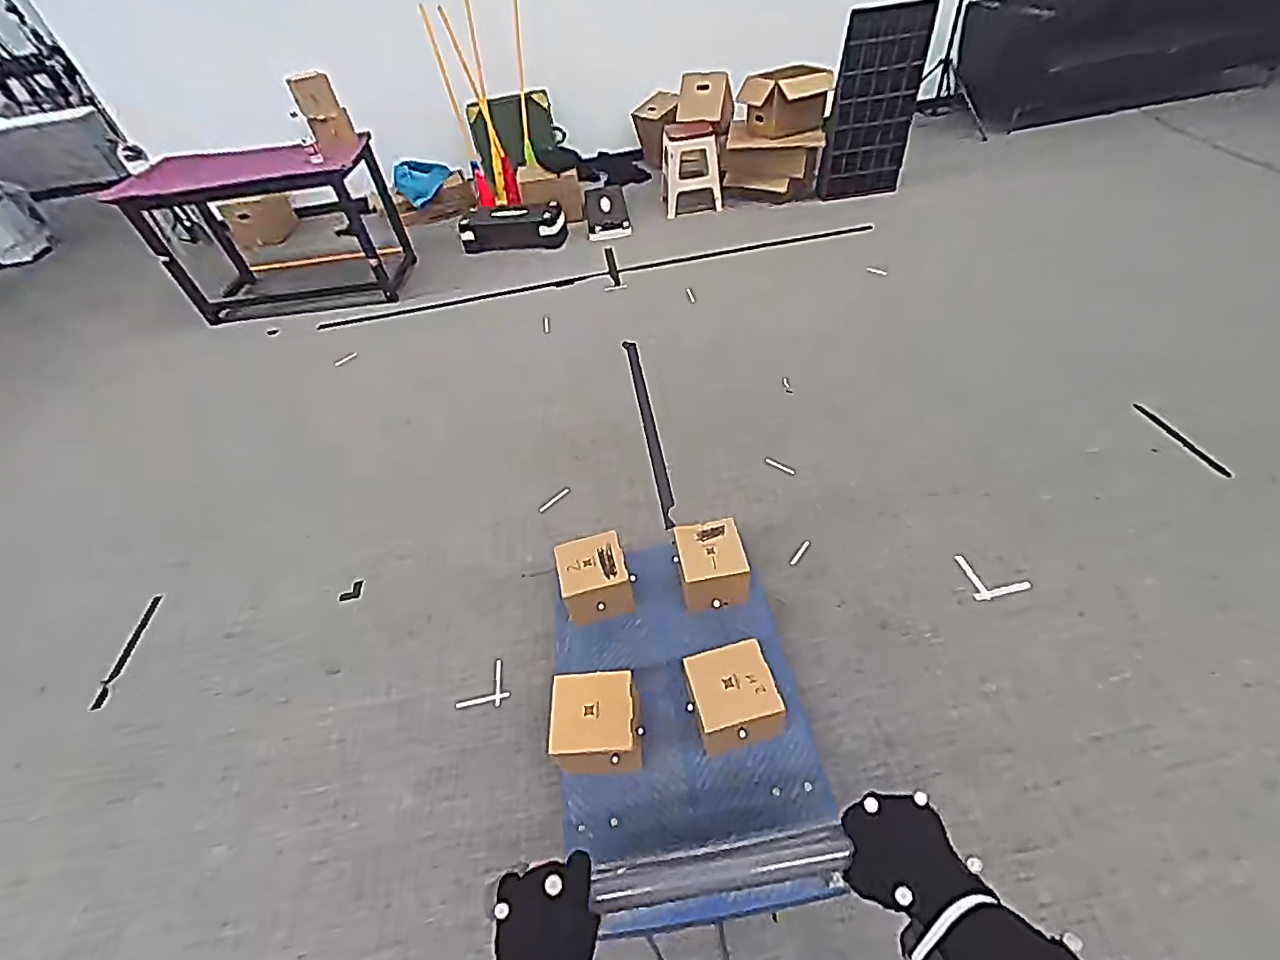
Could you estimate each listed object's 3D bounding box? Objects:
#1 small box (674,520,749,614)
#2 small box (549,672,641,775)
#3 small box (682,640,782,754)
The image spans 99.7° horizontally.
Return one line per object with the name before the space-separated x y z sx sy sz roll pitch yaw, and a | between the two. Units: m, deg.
small box | 0.189 0.237 1.463 0.168 0.176 0.179 -10 48 -1
small box | -0.095 0.552 1.218 0.179 0.176 0.168 -5 47 2
small box | 0.206 0.495 1.223 0.179 0.176 0.168 -14 47 -4
